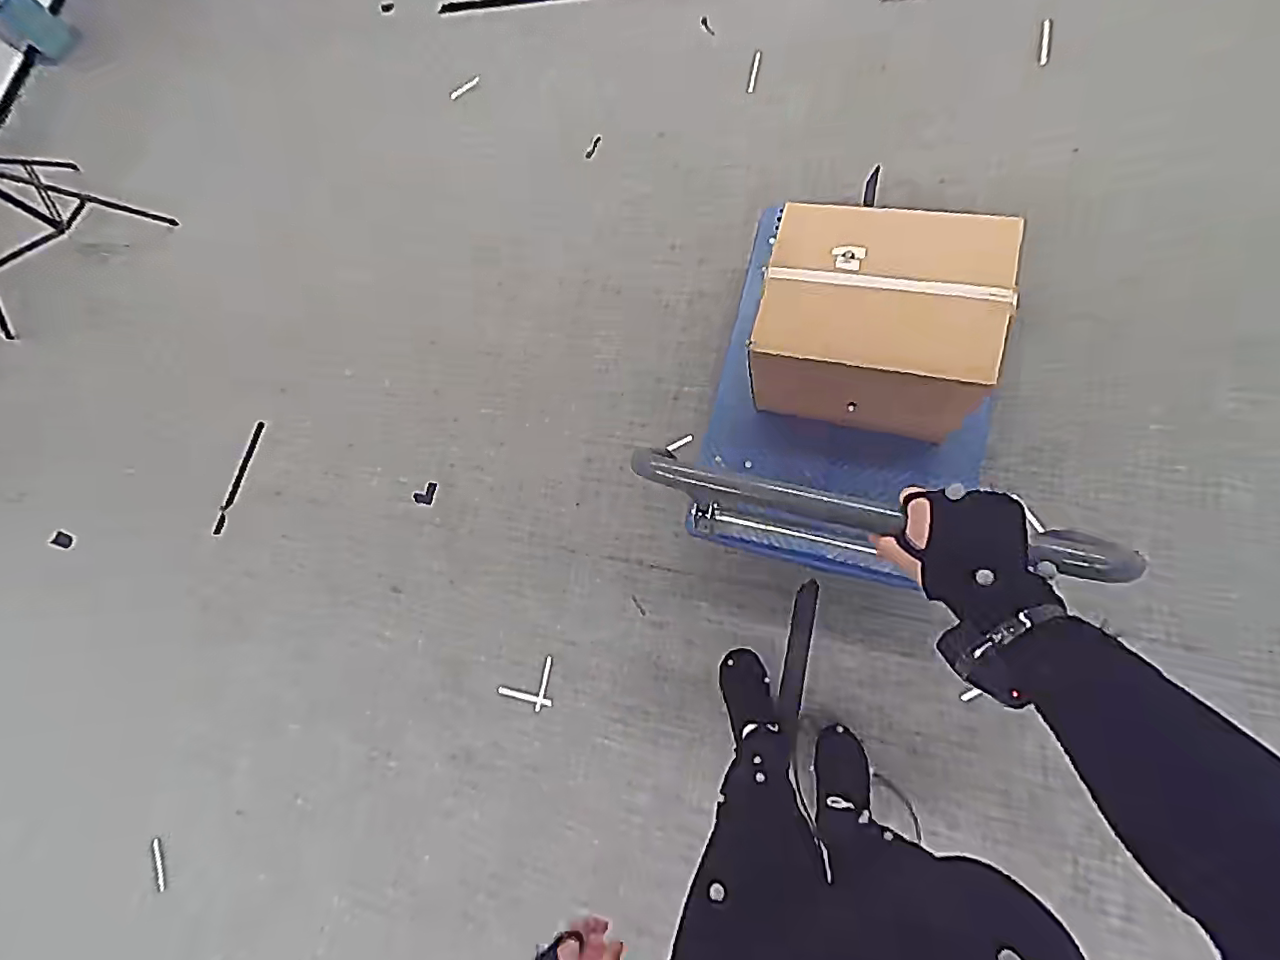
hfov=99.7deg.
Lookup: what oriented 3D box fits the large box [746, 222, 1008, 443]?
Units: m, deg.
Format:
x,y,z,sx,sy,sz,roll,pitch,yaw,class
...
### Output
x,y,z,sx,sy,sz,roll,pitch,yaw,class
0.460,-0.289,1.113,0.408,0.320,0.320,12,79,18,large box
